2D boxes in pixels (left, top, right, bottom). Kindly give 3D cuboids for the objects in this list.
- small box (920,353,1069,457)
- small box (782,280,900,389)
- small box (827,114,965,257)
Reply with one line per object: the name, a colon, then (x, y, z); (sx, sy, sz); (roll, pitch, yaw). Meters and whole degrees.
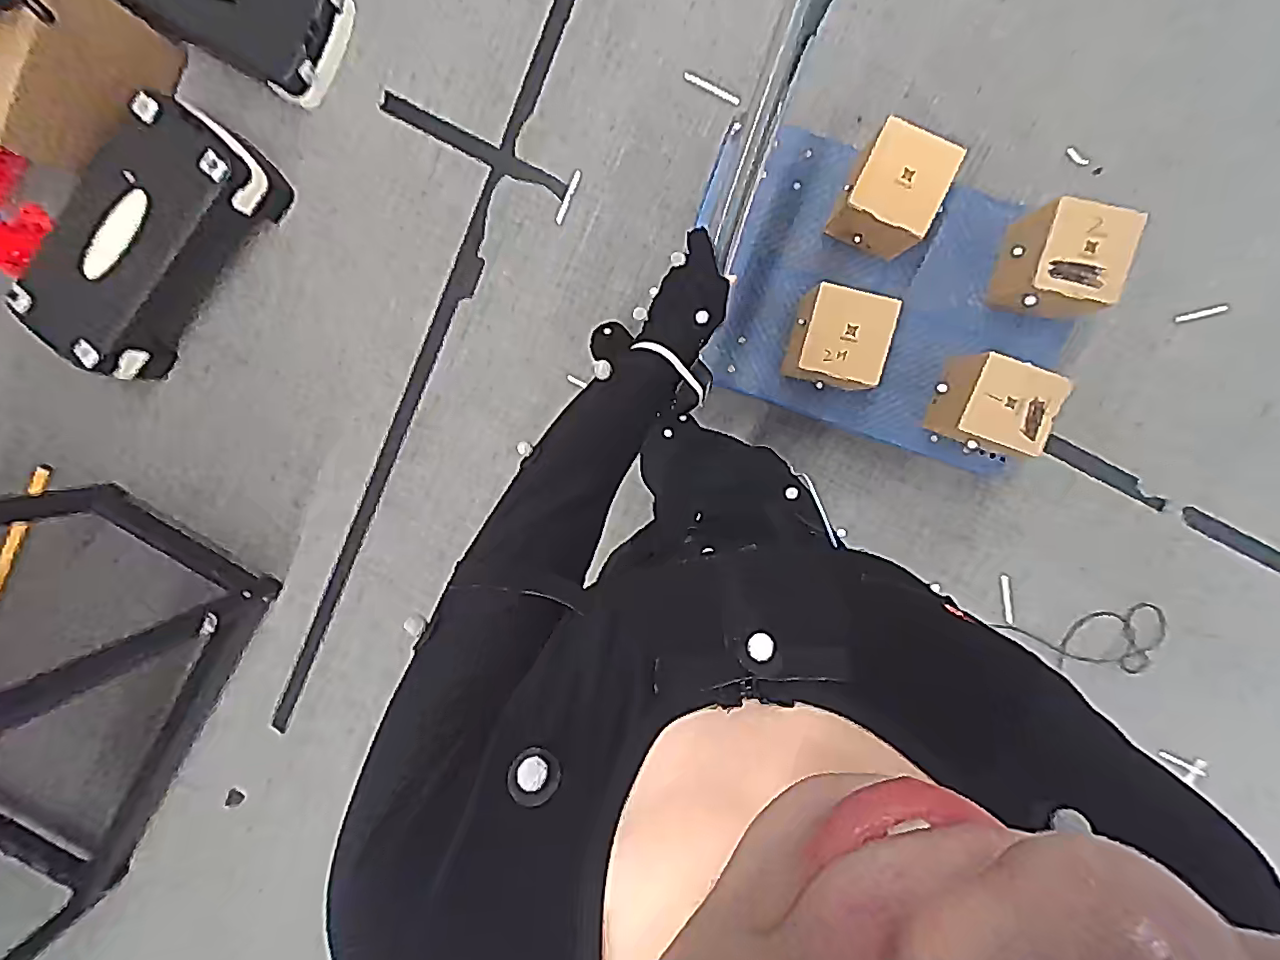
small box: (0.747, -0.160, 1.159); (0.179, 0.176, 0.168); (20, 98, 1)
small box: (0.417, -0.302, 1.154); (0.168, 0.176, 0.179); (14, 97, 1)
small box: (0.511, -0.593, 1.113); (0.168, 0.176, 0.179); (25, 99, -2)
